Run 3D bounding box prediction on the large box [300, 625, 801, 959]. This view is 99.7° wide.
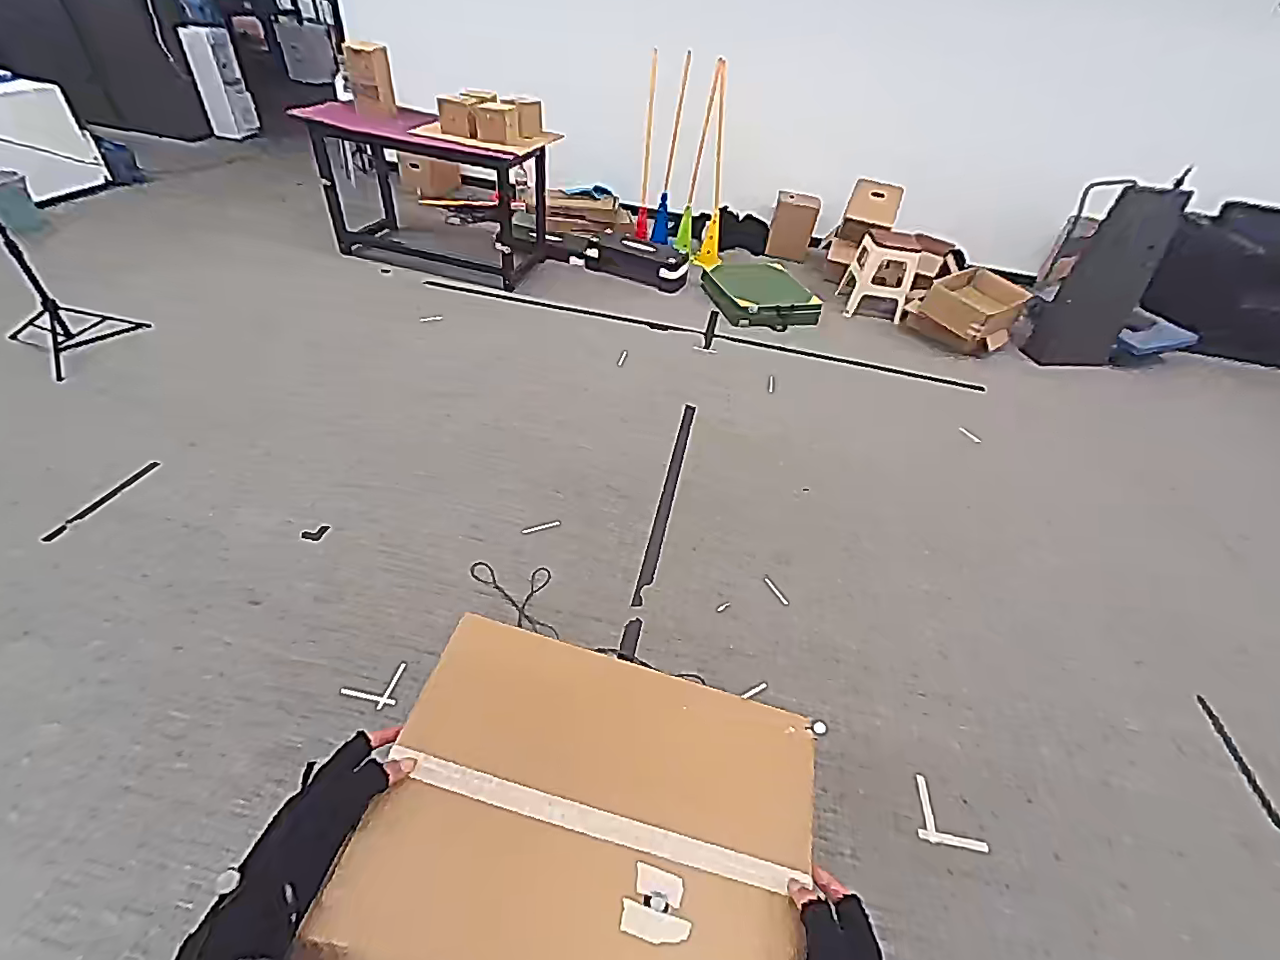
[{"bbox_3d":[-0.069,0.421,0.617,0.408,0.320,0.320,17,48,2],"label":"large box"}]
